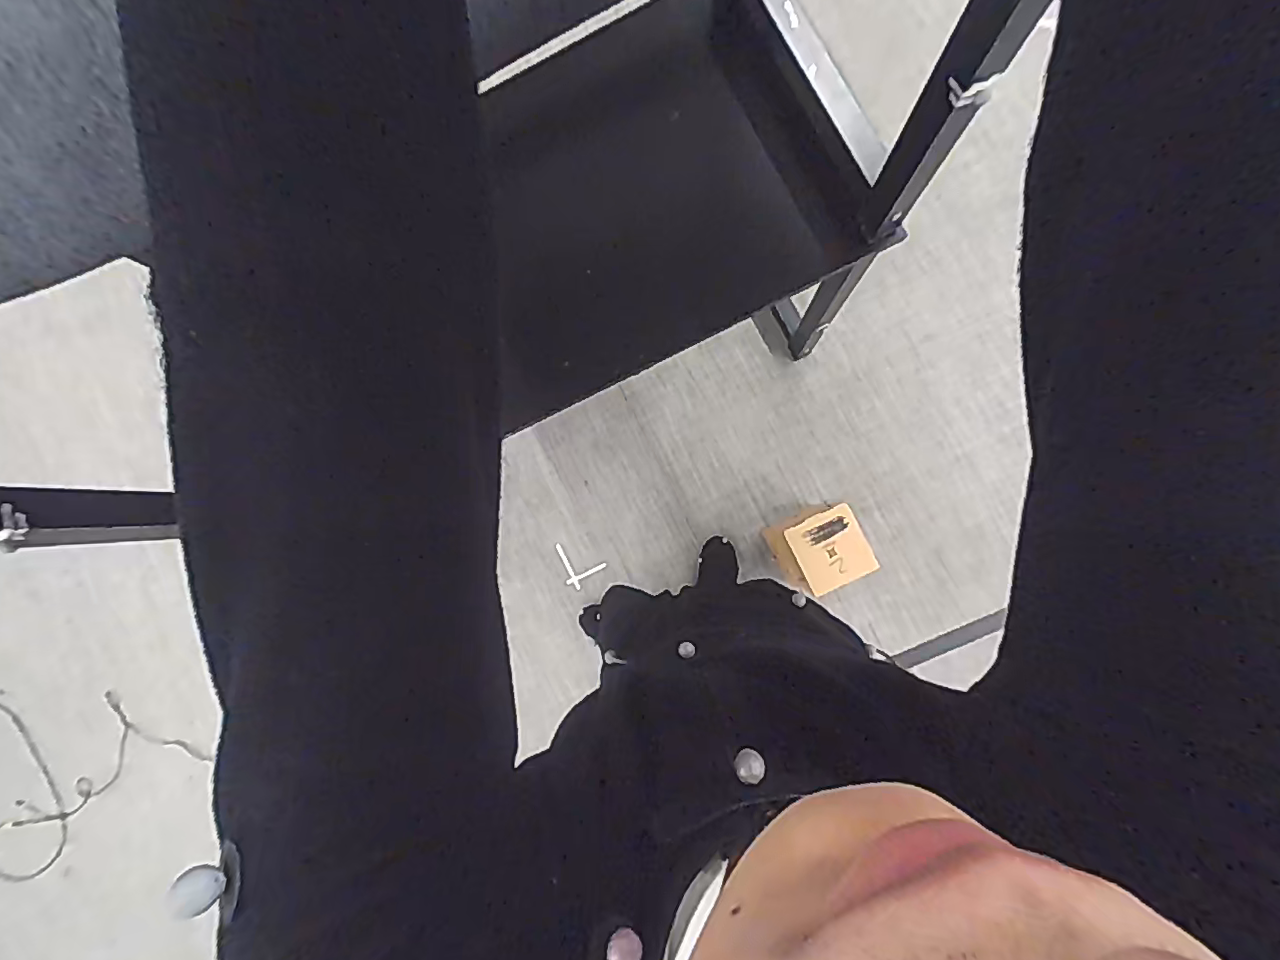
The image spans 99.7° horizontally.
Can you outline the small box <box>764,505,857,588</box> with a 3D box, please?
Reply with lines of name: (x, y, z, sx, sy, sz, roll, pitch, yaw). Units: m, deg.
small box: (0.465, 0.178, 1.506, 0.179, 0.176, 0.168, -28, 84, 5)
